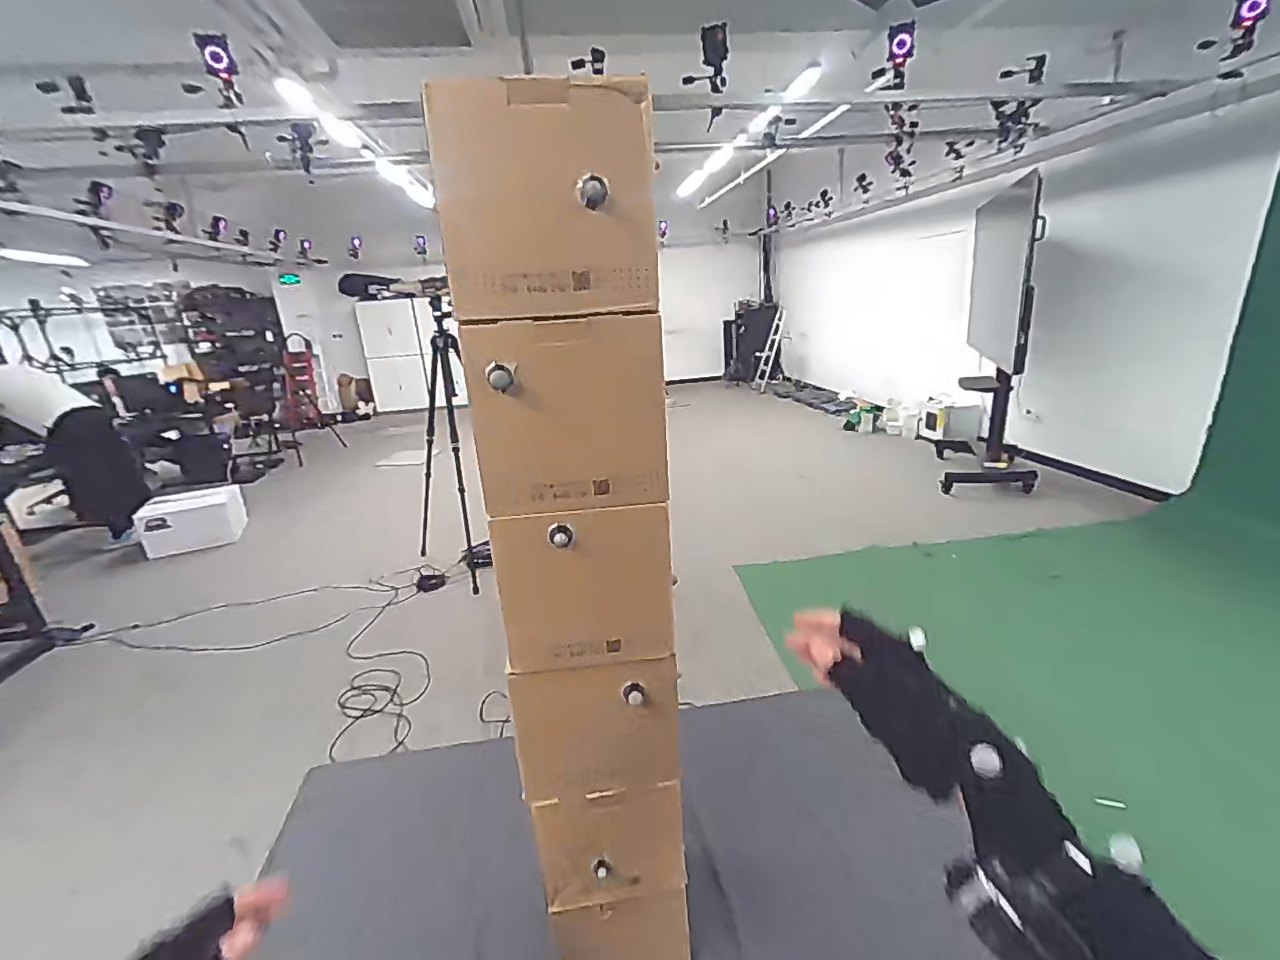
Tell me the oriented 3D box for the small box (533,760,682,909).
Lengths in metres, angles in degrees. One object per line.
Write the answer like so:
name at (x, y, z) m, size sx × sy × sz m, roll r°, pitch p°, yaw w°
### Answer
small box at (-0.043, 0.397, 0.699) m, size 0.168 × 0.176 × 0.179 m, roll -6°, pitch 18°, yaw -6°

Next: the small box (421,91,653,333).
small box at (-0.079, -0.227, 0.498) m, size 0.168 × 0.176 × 0.179 m, roll -4°, pitch 18°, yaw -3°

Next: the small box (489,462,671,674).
small box at (-0.059, 0.086, 0.597) m, size 0.168 × 0.176 × 0.179 m, roll -5°, pitch 18°, yaw -4°

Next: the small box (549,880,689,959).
small box at (-0.031, 0.551, 0.749) m, size 0.168 × 0.176 × 0.179 m, roll -7°, pitch 17°, yaw -6°

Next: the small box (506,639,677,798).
small box at (-0.052, 0.242, 0.646) m, size 0.179 × 0.176 × 0.168 m, roll -6°, pitch 18°, yaw -5°
